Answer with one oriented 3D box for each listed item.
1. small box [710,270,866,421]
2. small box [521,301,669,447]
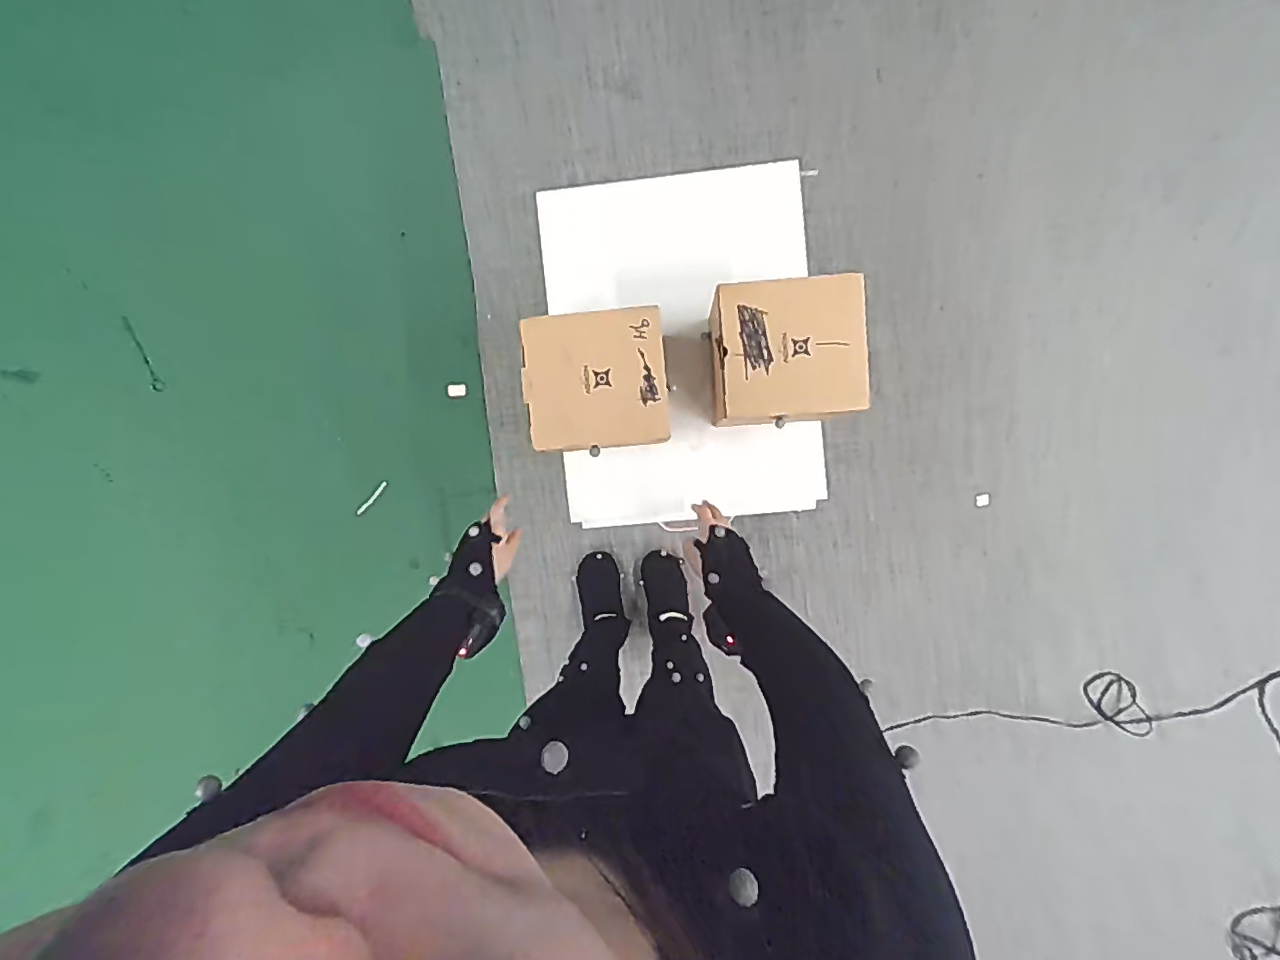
[{"bbox_3d":[0.188,-0.171,0.738,0.179,0.176,0.168,-3,92,3],"label":"small box"},{"bbox_3d":[-0.053,-0.135,0.748,0.179,0.176,0.168,-5,93,1],"label":"small box"}]
